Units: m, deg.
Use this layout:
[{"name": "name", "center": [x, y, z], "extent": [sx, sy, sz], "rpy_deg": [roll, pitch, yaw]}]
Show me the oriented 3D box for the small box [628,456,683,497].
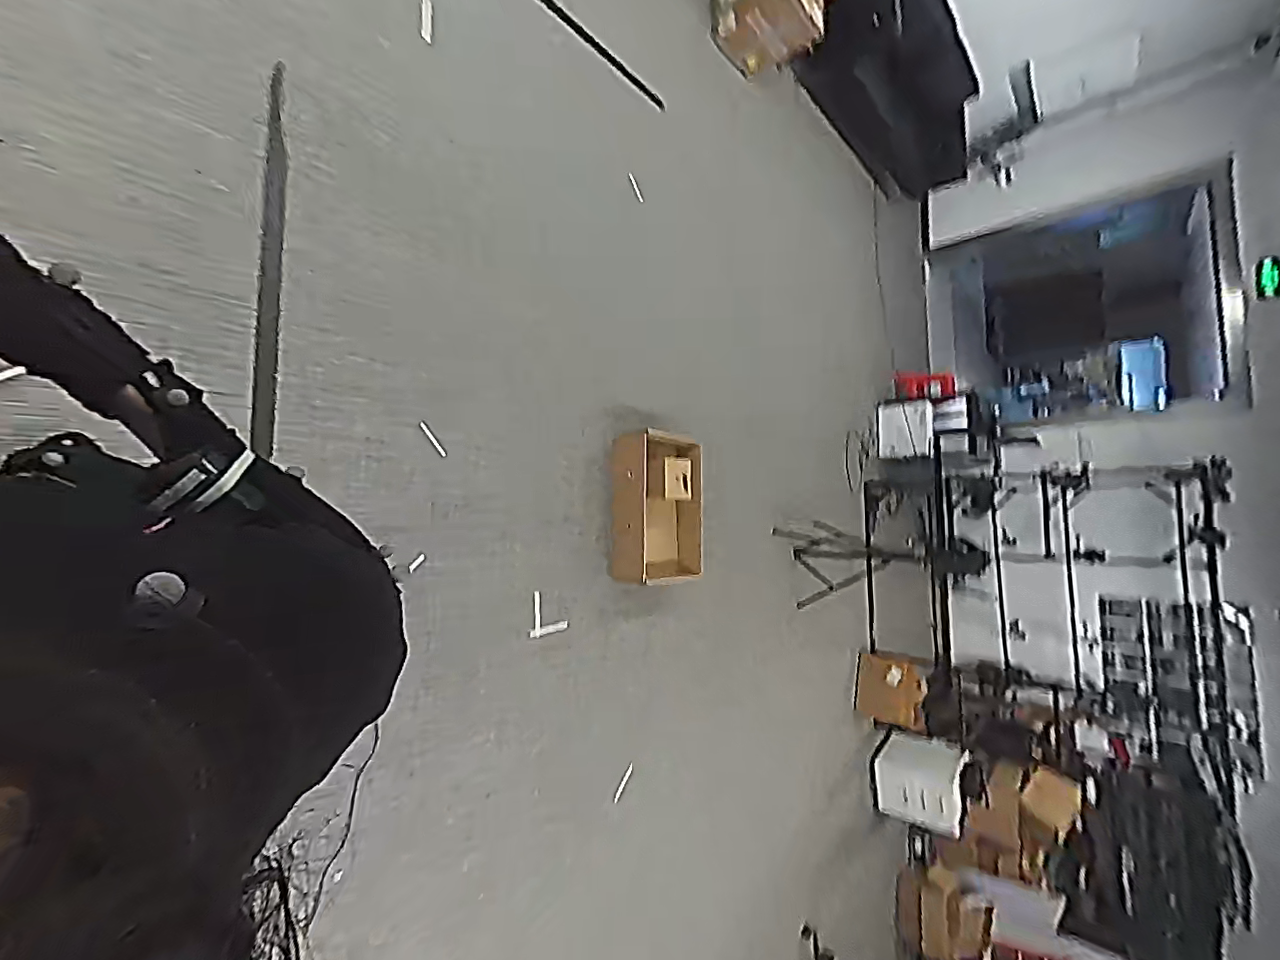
[{"name": "small box", "center": [0.068, -0.011, 2.305], "extent": [0.179, 0.176, 0.168], "rpy_deg": [2, 87, -49]}]
